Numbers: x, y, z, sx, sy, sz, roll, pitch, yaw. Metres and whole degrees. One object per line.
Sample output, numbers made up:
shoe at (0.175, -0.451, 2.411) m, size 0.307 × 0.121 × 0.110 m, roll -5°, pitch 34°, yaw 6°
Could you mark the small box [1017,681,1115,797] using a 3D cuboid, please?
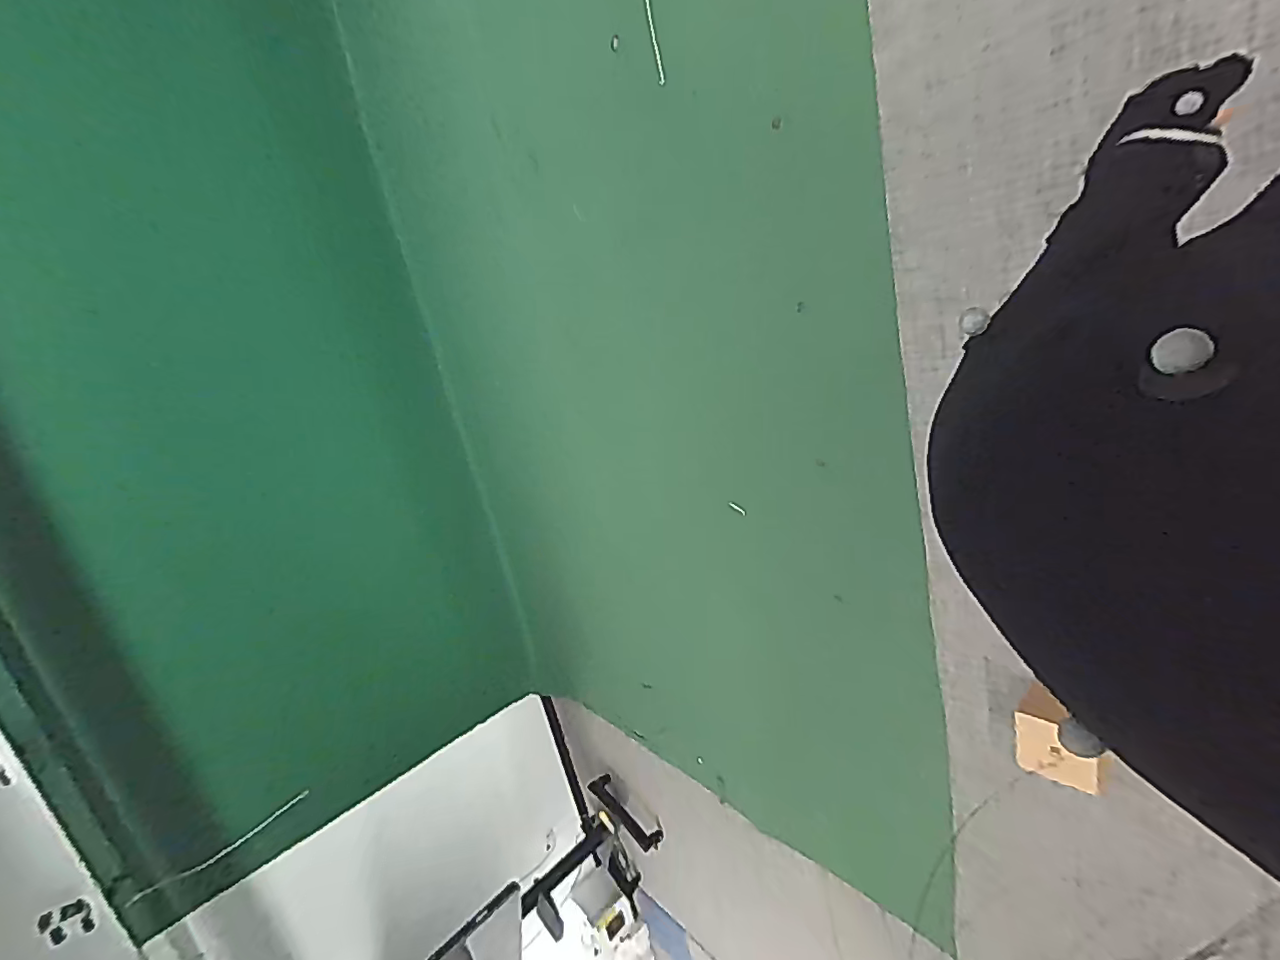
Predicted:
small box at (1.085, 0.648, 1.378) m, size 0.168 × 0.176 × 0.179 m, roll 6°, pitch 113°, yaw 51°
